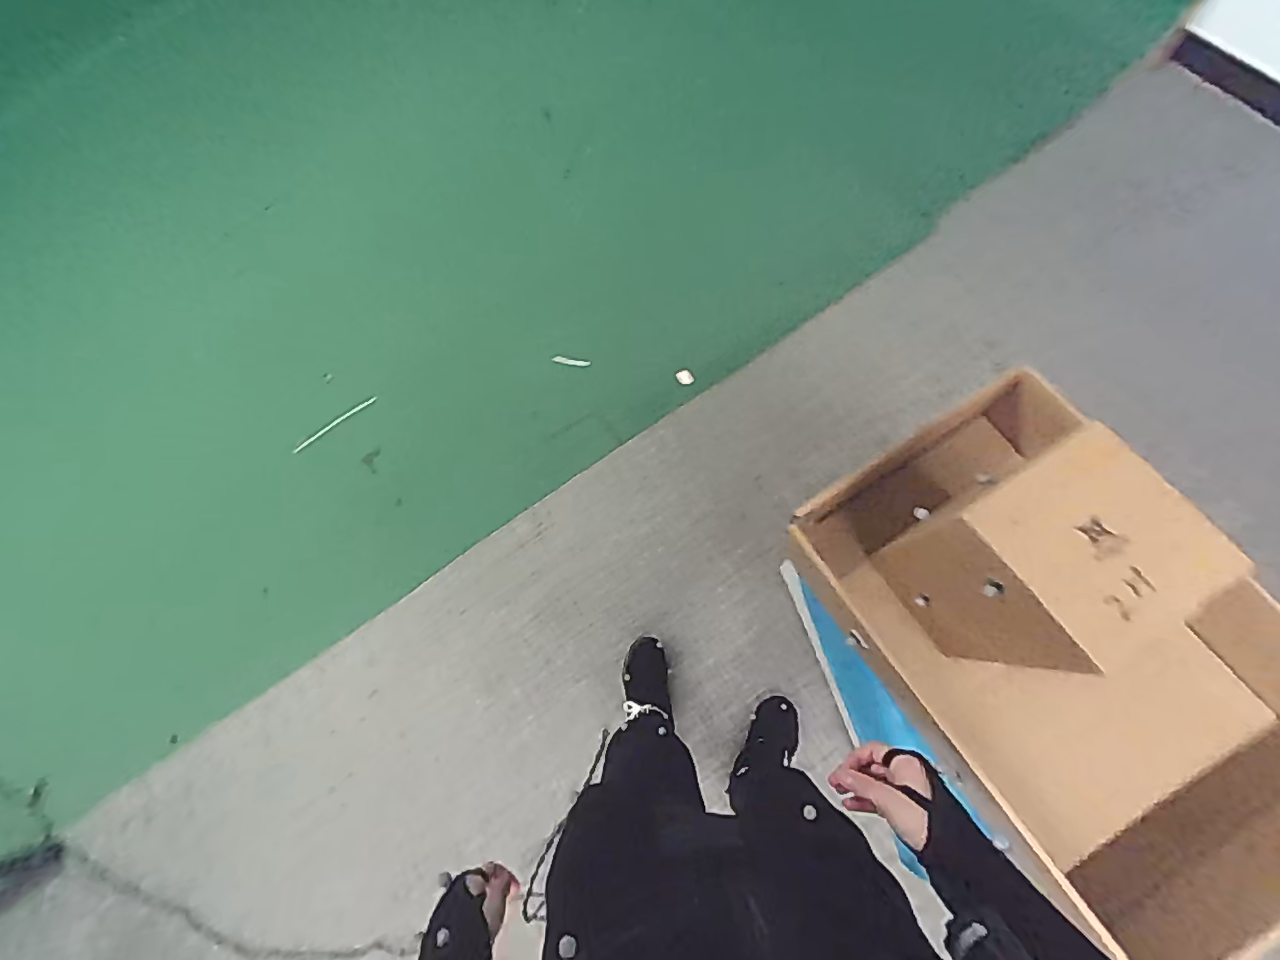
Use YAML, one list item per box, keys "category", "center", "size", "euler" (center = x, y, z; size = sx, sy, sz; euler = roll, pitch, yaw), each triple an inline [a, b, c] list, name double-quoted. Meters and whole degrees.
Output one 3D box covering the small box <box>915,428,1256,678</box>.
- category: "small box"
  center: [0.427, 0.082, 0.561]
  size: [0.168, 0.176, 0.179]
  euler: [-33, 72, -2]
